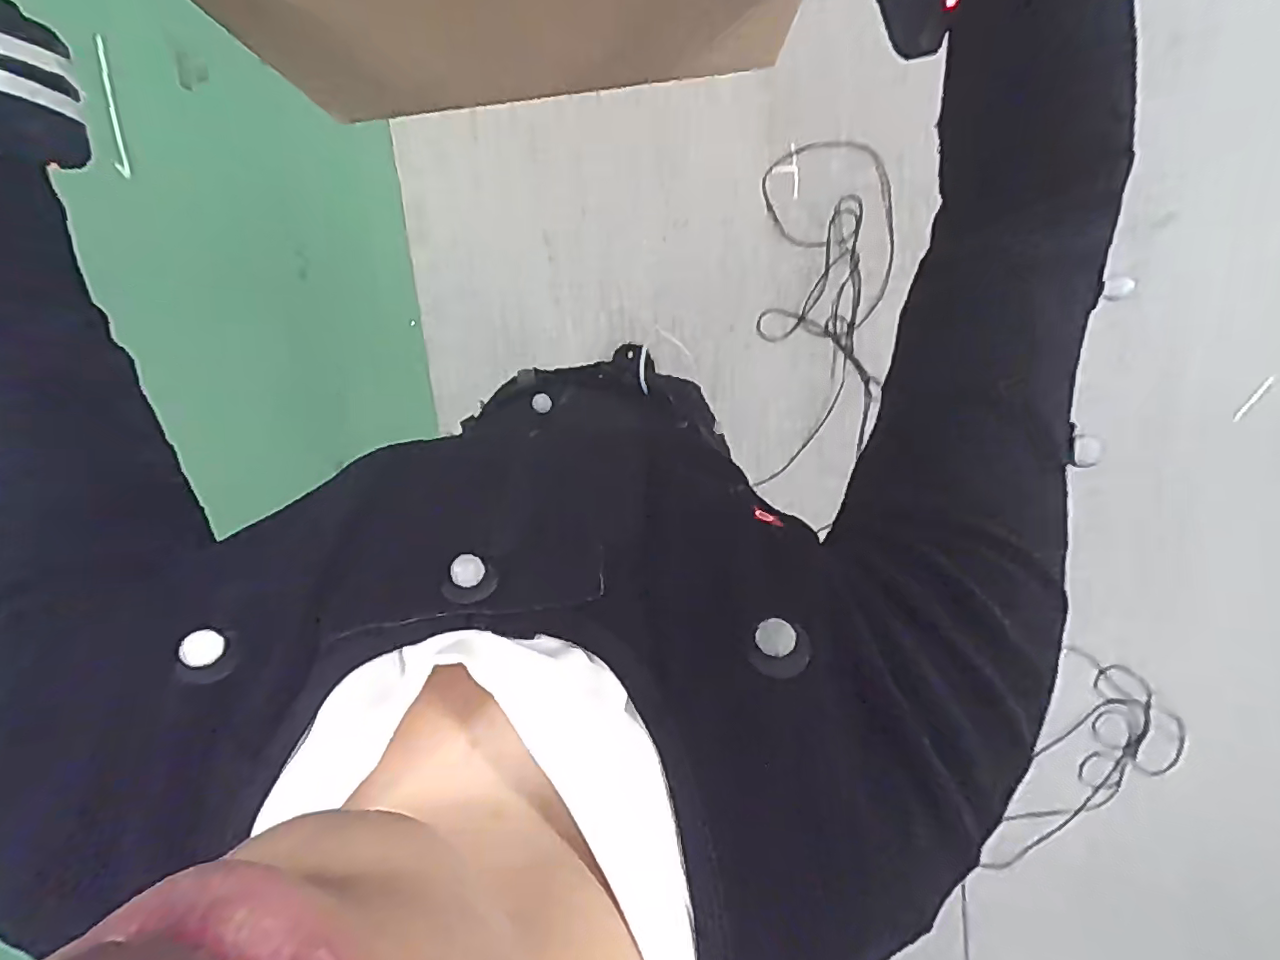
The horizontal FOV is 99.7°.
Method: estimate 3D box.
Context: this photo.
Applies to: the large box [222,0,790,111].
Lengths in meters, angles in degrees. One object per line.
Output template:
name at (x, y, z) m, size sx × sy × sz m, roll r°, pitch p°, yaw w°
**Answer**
large box at (-0.095, -0.478, 0.315) m, size 0.408 × 0.320 × 0.320 m, roll -7°, pitch 102°, yaw 1°
